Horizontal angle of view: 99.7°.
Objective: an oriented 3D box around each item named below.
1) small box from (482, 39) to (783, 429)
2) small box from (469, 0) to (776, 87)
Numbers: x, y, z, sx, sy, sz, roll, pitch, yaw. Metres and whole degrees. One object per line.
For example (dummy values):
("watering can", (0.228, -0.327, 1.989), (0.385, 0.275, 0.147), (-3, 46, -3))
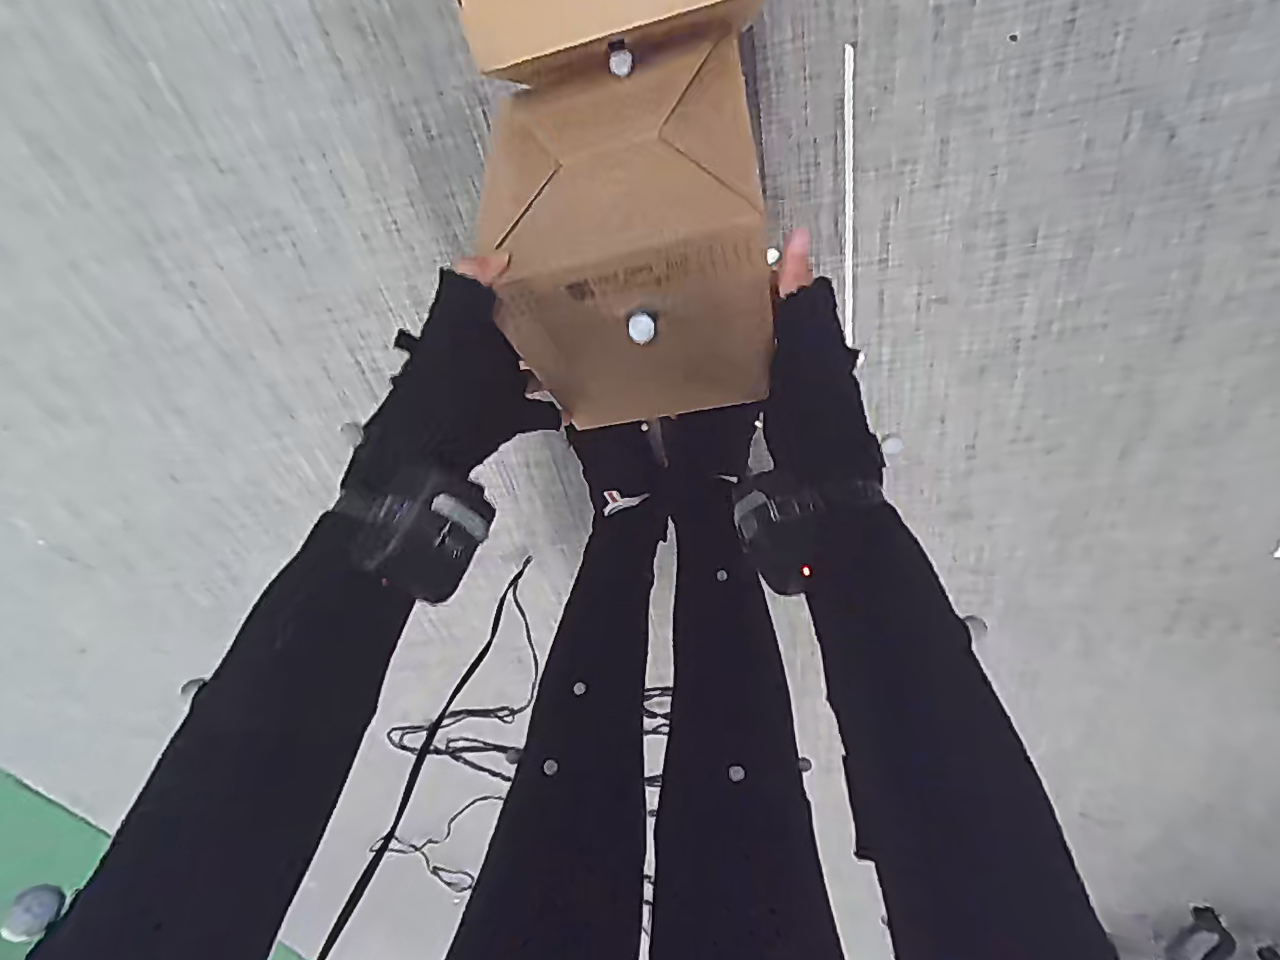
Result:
("small box", (0.006, -0.161, 0.386), (0.168, 0.179, 0.176), (-8, 155, 14))
("small box", (-0.014, -0.360, 0.325), (0.179, 0.176, 0.168), (-8, 121, 11))
